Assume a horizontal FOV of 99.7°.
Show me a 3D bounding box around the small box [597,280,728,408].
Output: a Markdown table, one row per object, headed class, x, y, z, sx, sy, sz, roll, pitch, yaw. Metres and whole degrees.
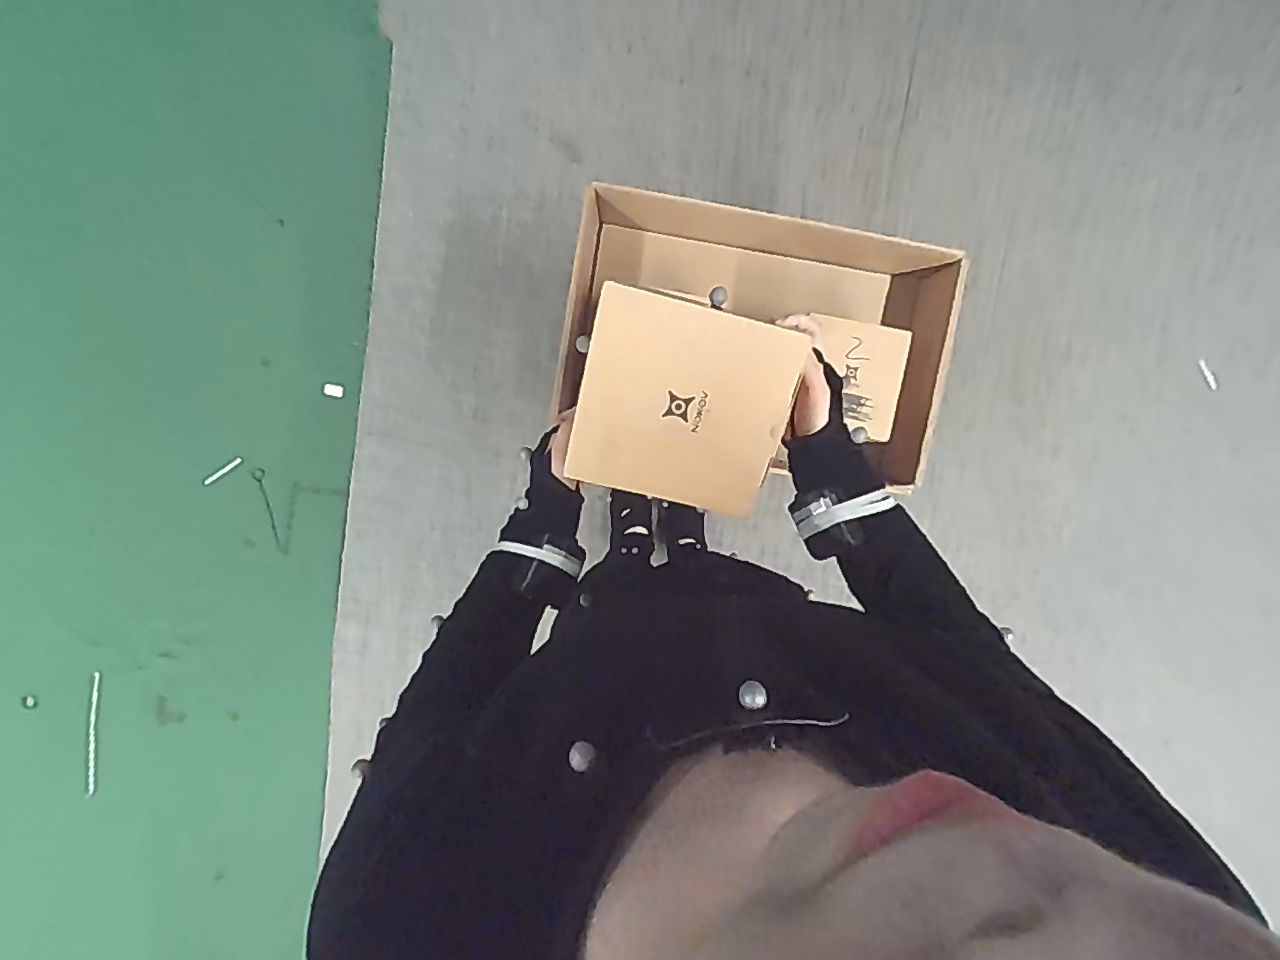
| class | x | y | z | sx | sy | sz | roll | pitch | yaw |
| --- | --- | --- | --- | --- | --- | --- | --- | --- | --- |
| small box | 0.032 | -0.216 | 0.906 | 0.179 | 0.176 | 0.168 | 11 | 96 | -3 |
